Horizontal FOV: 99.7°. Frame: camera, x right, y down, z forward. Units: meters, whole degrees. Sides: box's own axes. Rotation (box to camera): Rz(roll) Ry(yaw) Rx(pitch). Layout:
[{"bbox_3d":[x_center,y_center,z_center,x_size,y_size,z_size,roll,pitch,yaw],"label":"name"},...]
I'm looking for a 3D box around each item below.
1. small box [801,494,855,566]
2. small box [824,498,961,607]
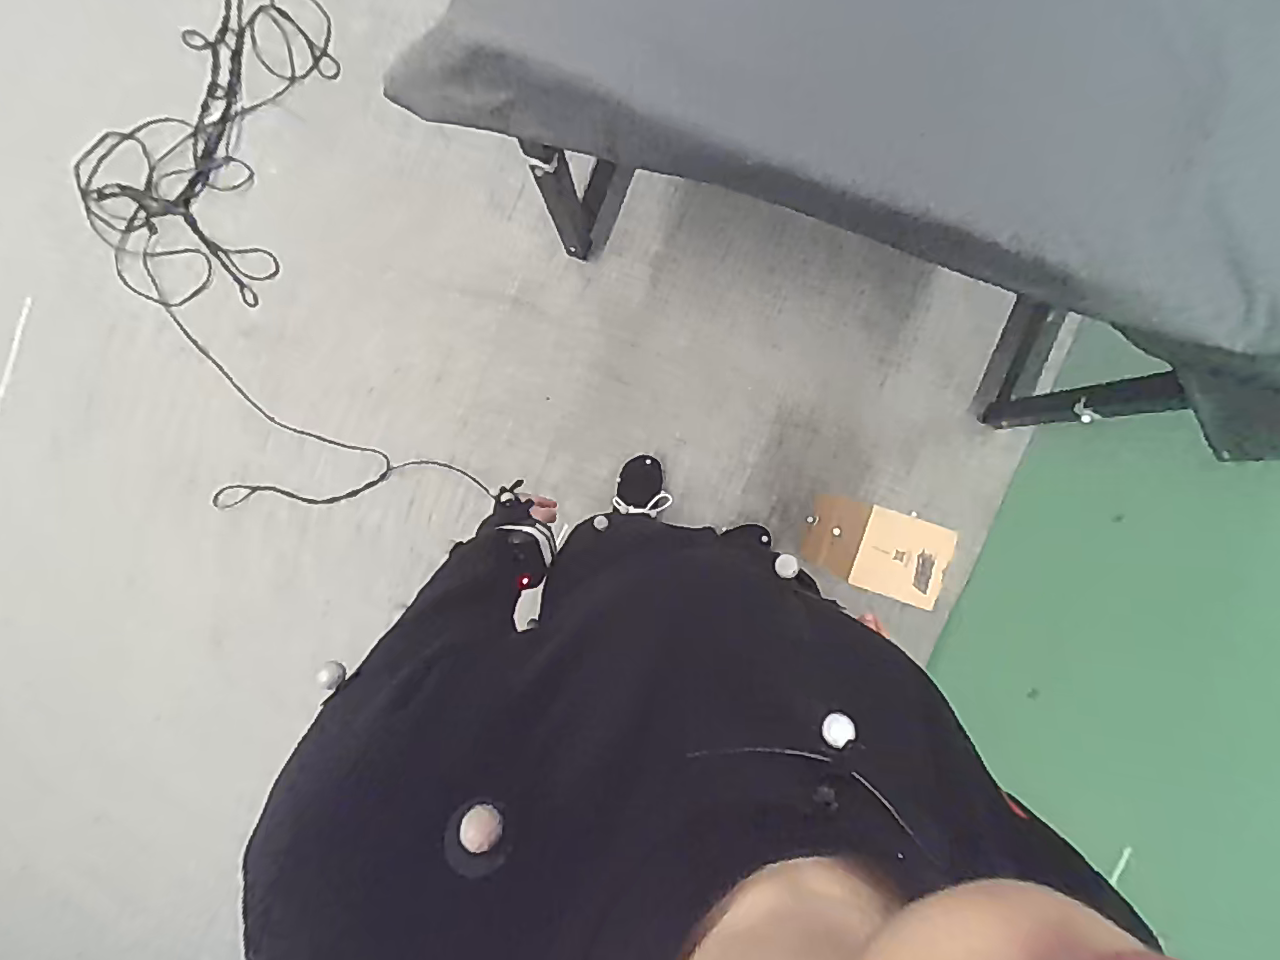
[{"bbox_3d":[0.509,0.134,1.286,0.179,0.176,0.168,19,92,2],"label":"small box"},{"bbox_3d":[0.512,0.141,1.122,0.179,0.176,0.168,19,92,1],"label":"small box"}]
